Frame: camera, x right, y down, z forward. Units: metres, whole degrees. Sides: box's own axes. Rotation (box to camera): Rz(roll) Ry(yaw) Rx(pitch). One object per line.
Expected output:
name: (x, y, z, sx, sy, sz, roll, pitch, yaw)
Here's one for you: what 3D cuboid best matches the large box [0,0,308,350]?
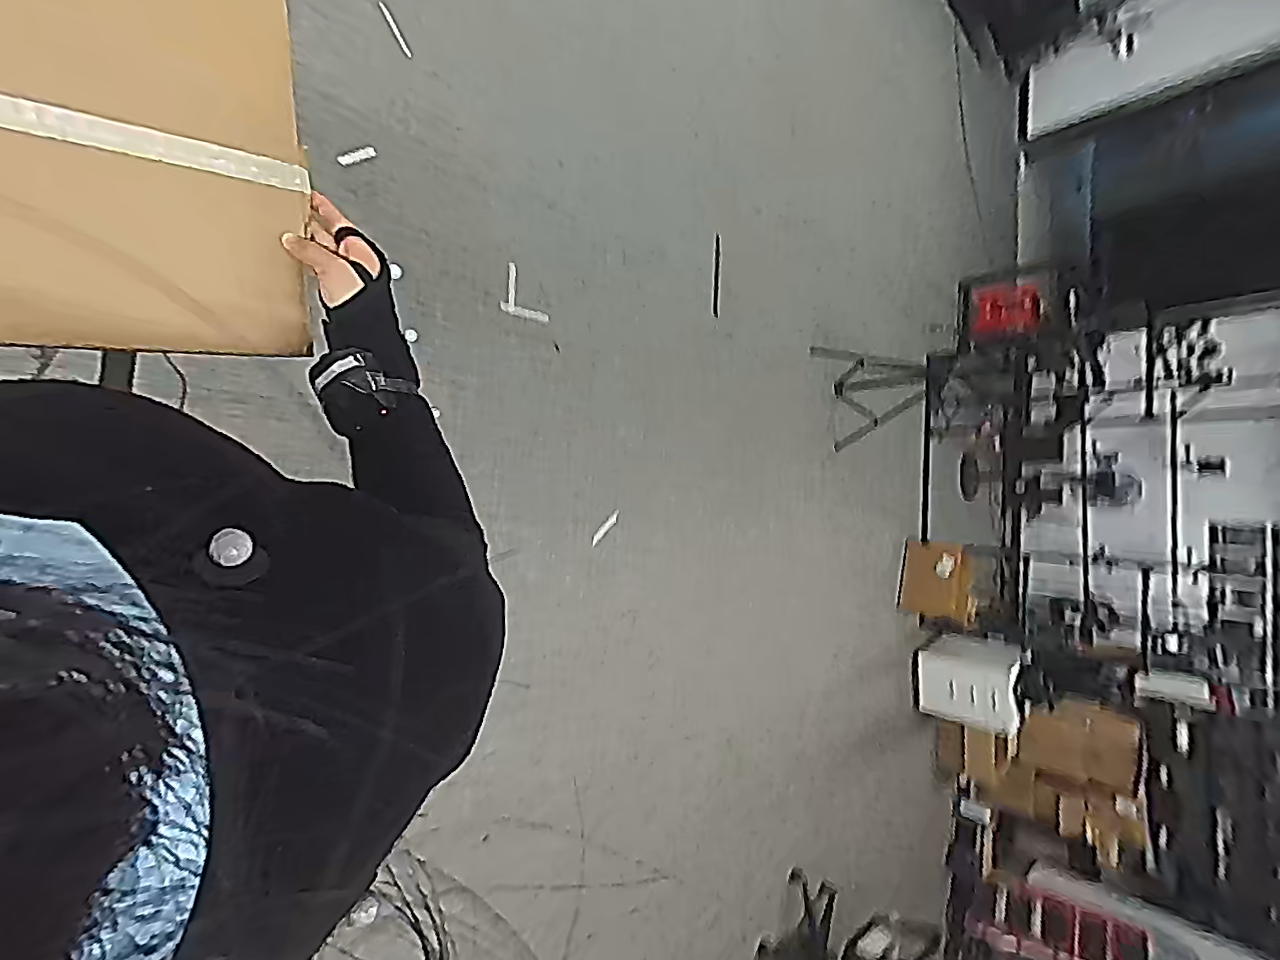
large box: (-0.564, -0.290, 0.480, 0.408, 0.320, 0.320, -7, 106, -41)
